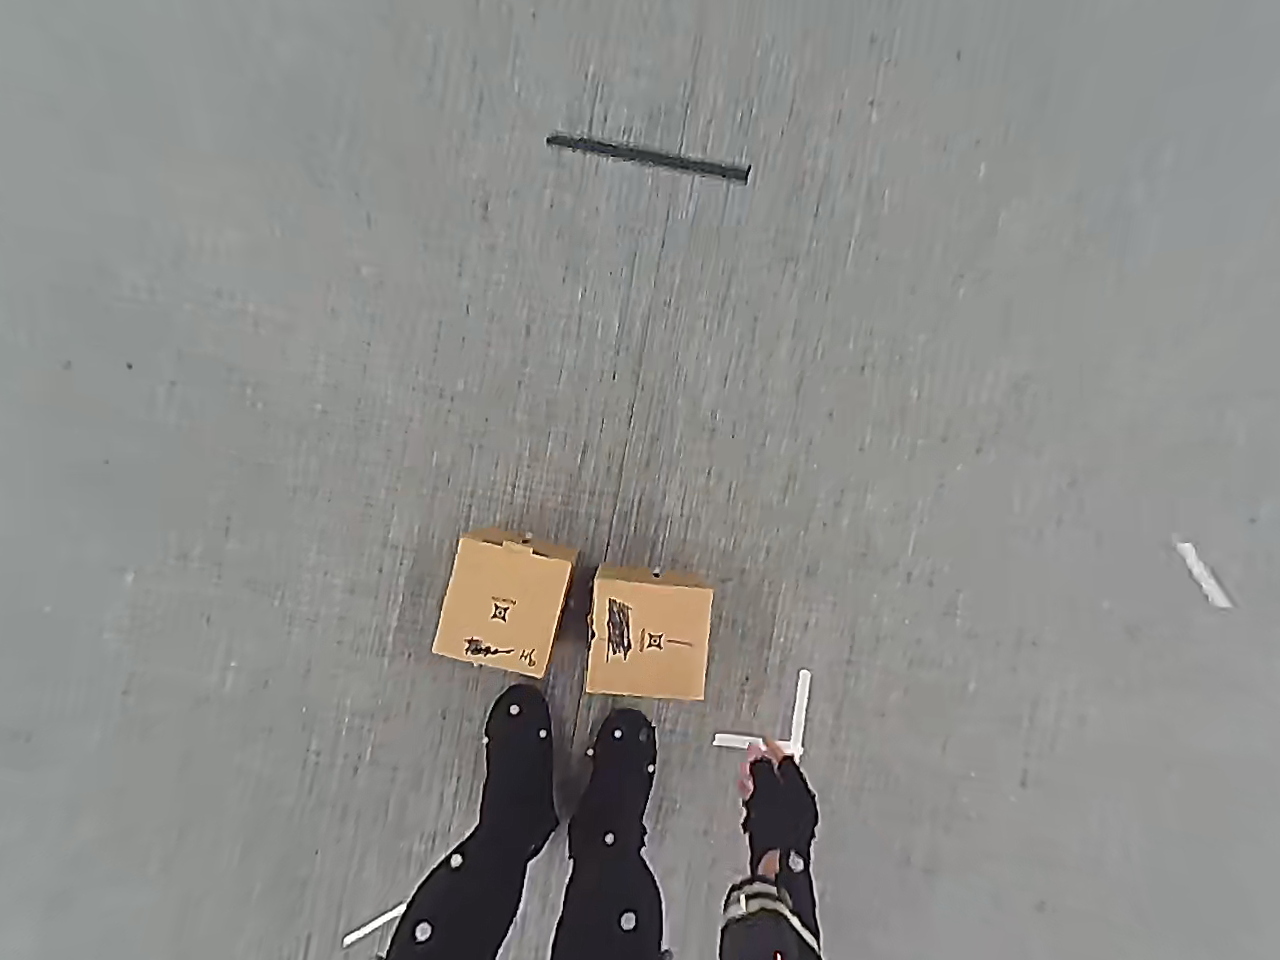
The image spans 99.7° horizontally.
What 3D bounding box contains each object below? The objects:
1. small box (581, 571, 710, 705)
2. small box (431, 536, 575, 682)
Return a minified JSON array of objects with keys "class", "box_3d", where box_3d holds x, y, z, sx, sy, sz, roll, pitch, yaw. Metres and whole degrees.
[{"class":"small box","box_3d":[0.005,0.242,0.869,0.179,0.176,0.168,6,88,-3]},{"class":"small box","box_3d":[-0.204,0.193,0.861,0.168,0.176,0.179,15,87,-1]}]
